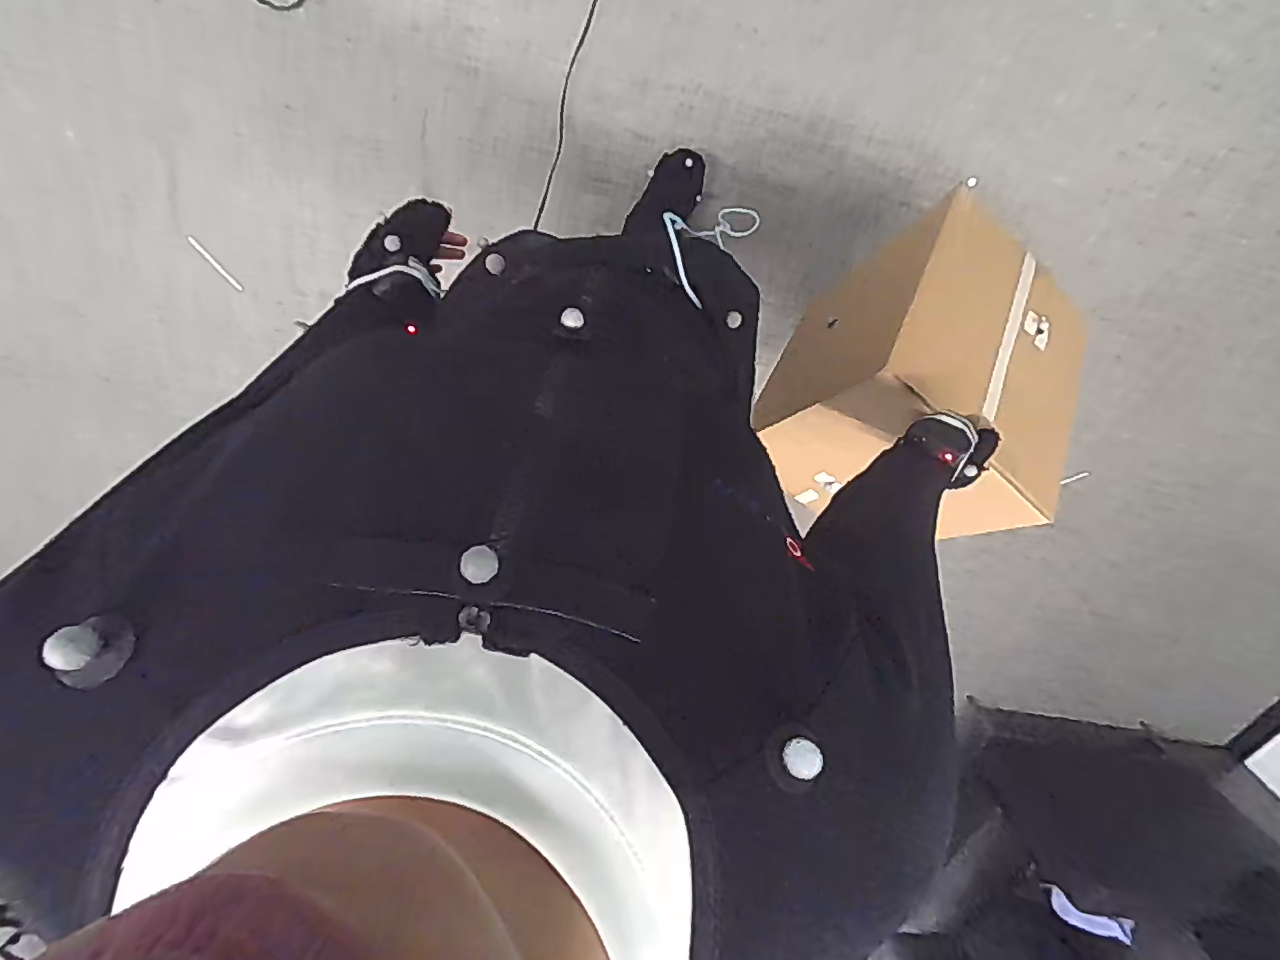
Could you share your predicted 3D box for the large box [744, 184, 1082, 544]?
[{"bbox_3d":[0.431,-0.159,0.871,0.320,0.408,0.320,38,154,-13],"label":"large box"}]
